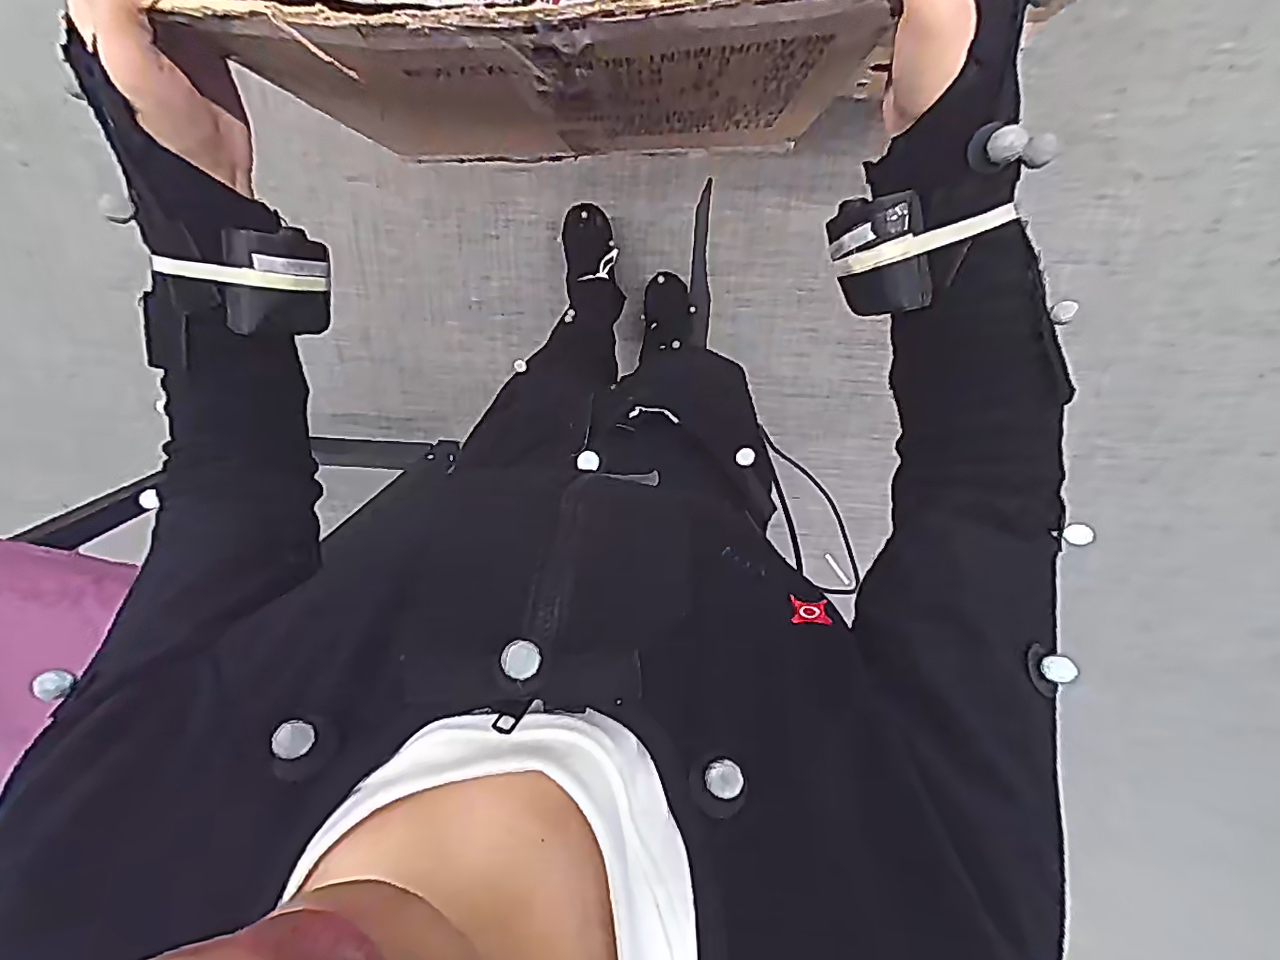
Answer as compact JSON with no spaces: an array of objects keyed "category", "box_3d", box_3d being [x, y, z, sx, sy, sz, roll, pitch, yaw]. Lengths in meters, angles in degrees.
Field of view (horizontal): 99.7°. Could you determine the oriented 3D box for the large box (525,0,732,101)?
[{"category":"large box","box_3d":[-0.011,-0.890,0.882,0.320,0.320,0.408,2,115,4]}]
